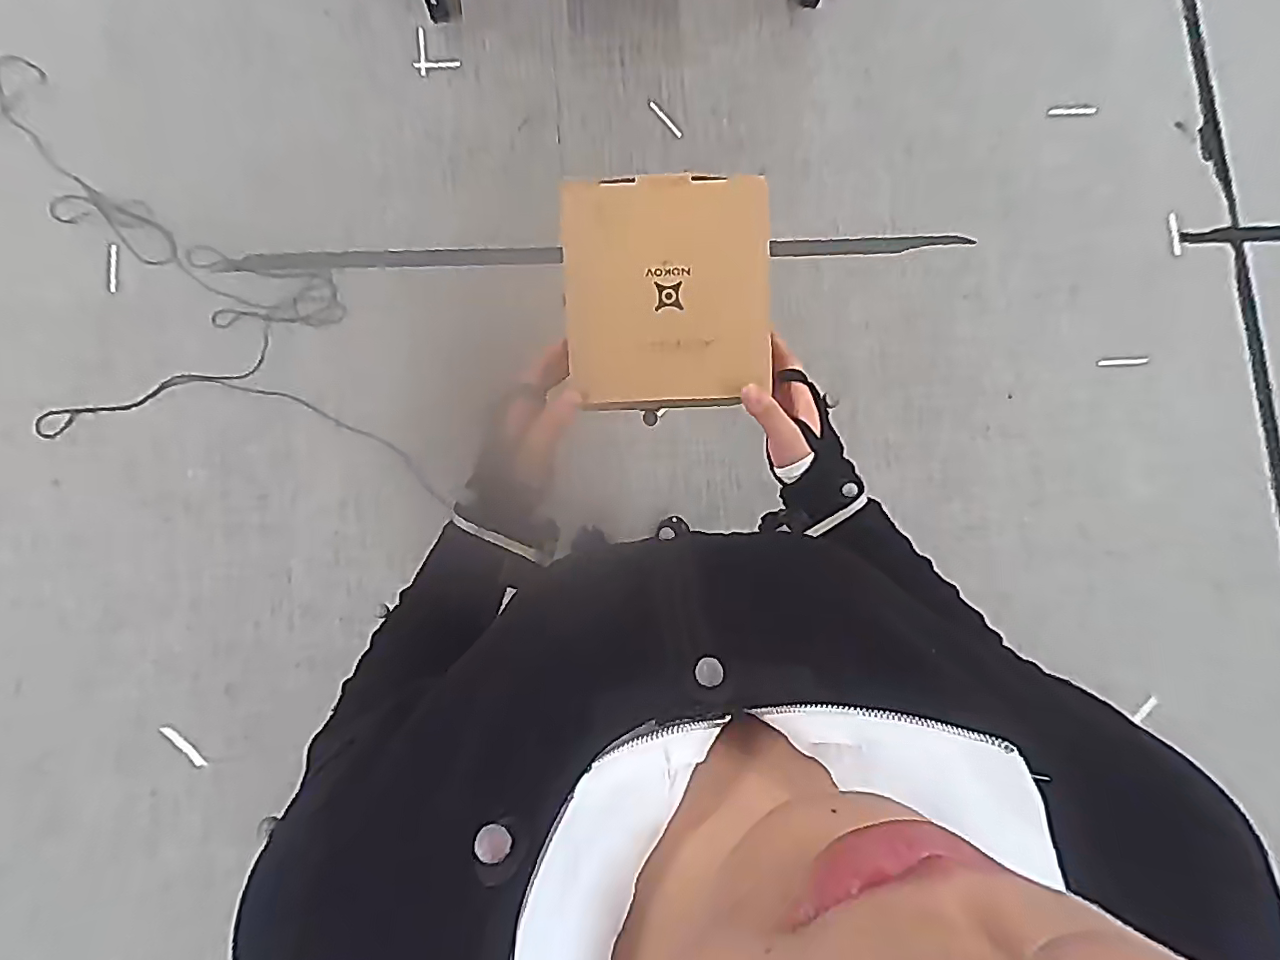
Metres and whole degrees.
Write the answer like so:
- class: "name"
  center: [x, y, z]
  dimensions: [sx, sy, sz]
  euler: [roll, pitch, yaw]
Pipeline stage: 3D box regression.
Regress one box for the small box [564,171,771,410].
- class: "small box"
  center: [0.020, -0.162, 0.512]
  dimensions: [0.168, 0.176, 0.179]
  euler: [-3, 95, -1]
